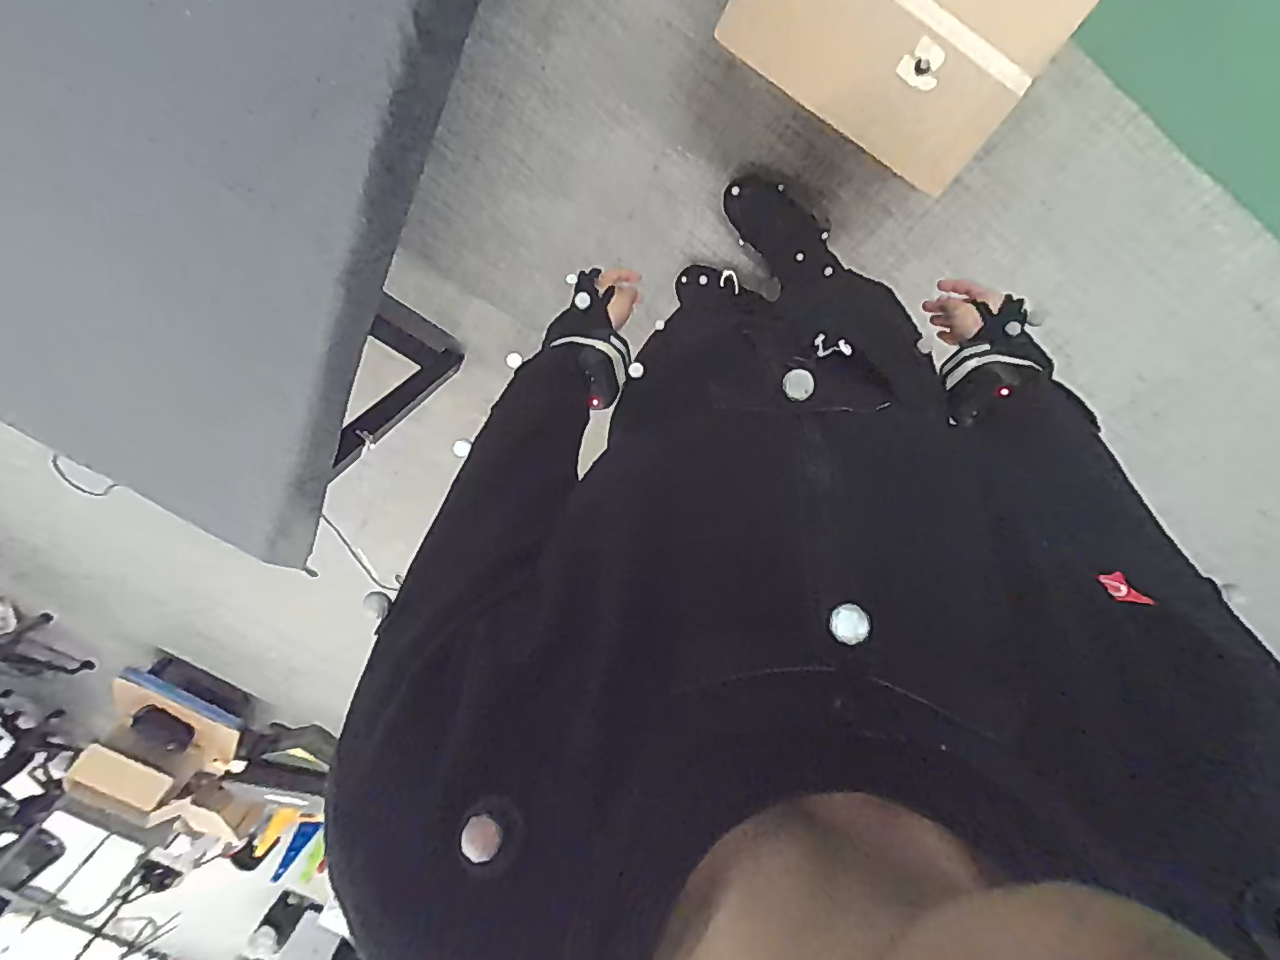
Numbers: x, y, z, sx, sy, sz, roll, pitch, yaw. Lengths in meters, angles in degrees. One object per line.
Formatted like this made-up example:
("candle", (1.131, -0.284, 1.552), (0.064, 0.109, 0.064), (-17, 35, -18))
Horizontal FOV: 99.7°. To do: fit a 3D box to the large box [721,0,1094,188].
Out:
("large box", (0.372, -0.710, 0.811), (0.408, 0.320, 0.320), (29, 125, -9))
